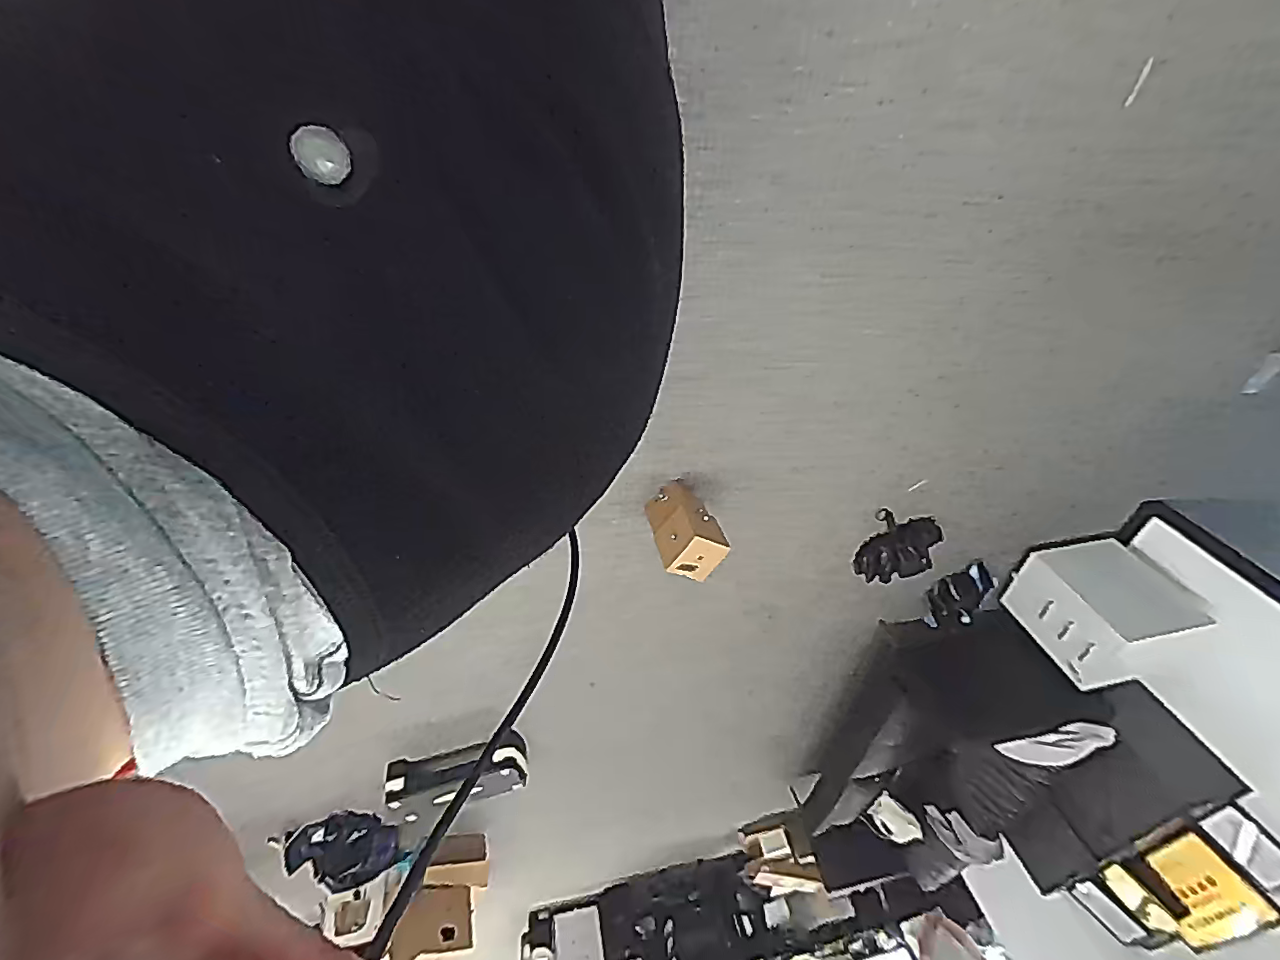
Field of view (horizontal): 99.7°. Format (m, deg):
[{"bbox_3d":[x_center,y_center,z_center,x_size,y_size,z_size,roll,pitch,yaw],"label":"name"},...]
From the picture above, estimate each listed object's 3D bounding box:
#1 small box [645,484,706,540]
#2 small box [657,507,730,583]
[{"bbox_3d":[0.143,0.146,2.019,0.168,0.176,0.179,-42,126,17],"label":"small box"},{"bbox_3d":[0.177,0.225,1.876,0.168,0.176,0.179,22,117,-31],"label":"small box"}]
